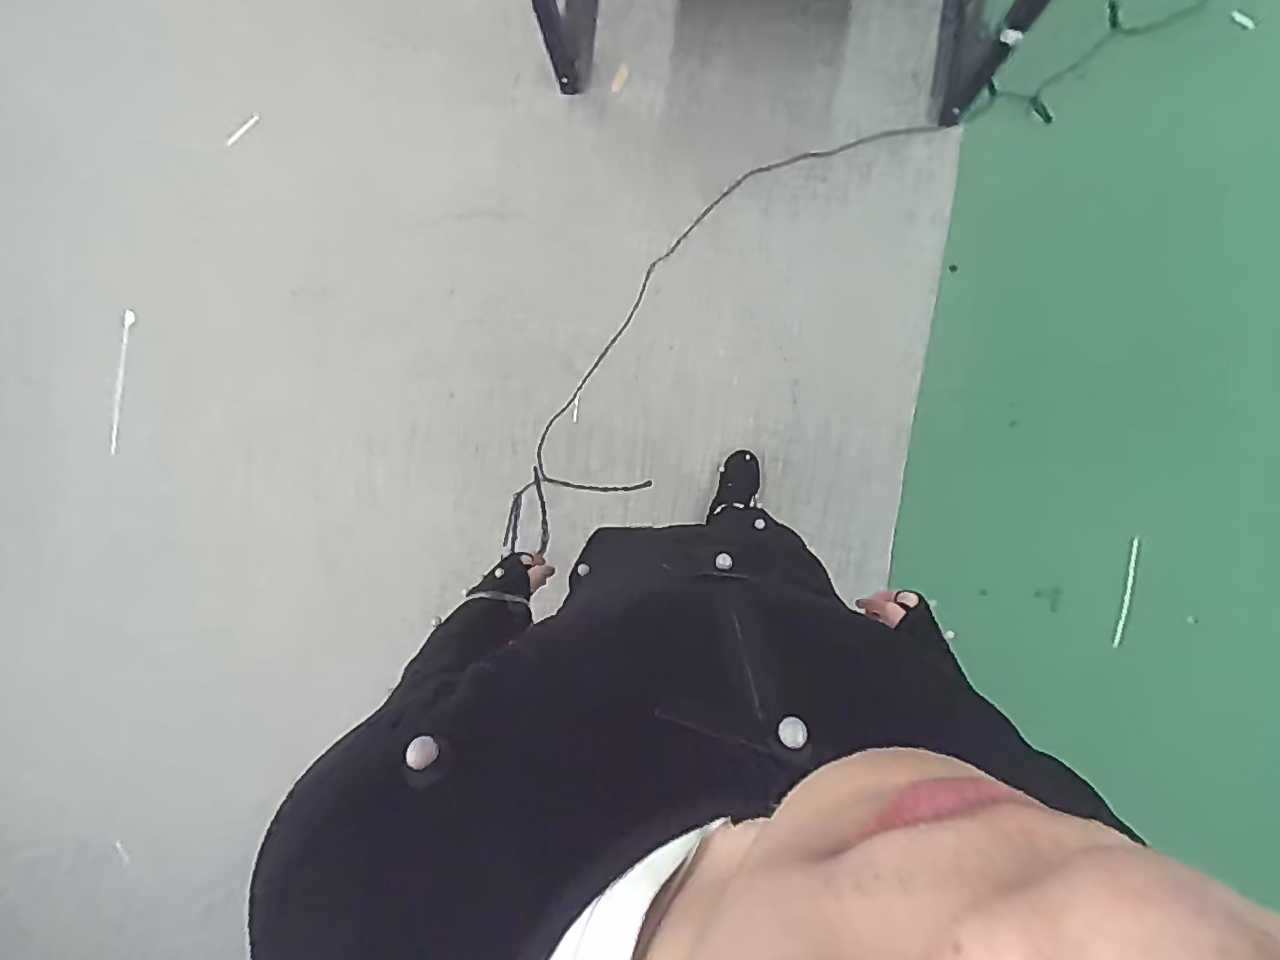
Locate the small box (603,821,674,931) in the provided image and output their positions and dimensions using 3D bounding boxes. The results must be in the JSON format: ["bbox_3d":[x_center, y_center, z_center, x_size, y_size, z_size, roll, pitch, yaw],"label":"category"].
[{"bbox_3d":[0.001,1.141,1.573,0.168,0.176,0.179,14,93,5],"label":"small box"}]
